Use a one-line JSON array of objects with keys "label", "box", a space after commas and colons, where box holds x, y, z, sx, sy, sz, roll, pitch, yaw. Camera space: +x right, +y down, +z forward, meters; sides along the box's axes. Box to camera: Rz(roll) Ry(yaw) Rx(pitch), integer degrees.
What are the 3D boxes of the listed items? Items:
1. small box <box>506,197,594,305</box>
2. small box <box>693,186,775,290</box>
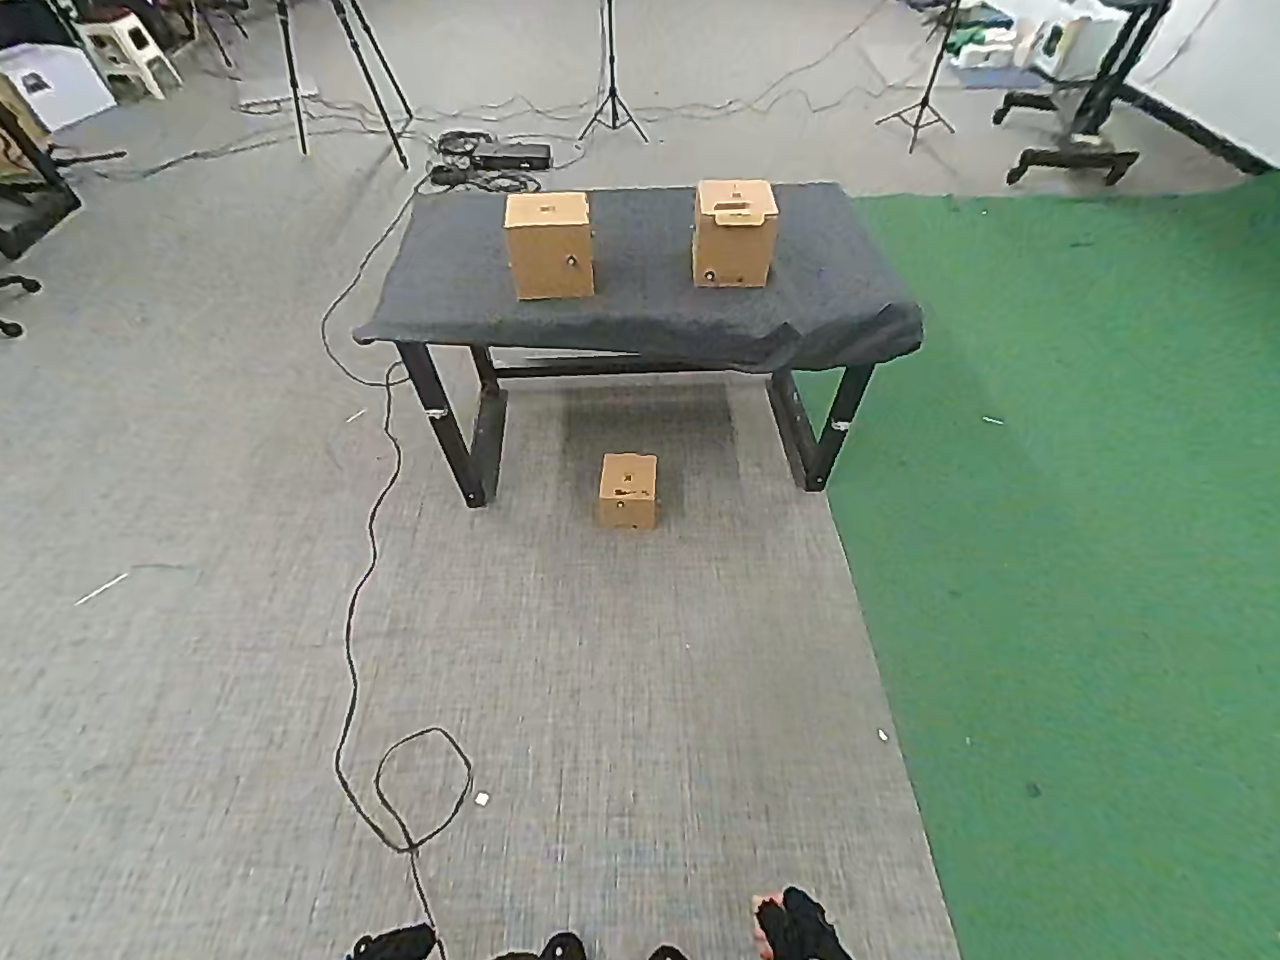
[{"label": "small box", "box": [-0.197, -0.518, 1.228, 0.179, 0.176, 0.168, -6, 49, -3]}, {"label": "small box", "box": [0.212, -0.560, 1.257, 0.168, 0.176, 0.179, 1, 51, 2]}]
